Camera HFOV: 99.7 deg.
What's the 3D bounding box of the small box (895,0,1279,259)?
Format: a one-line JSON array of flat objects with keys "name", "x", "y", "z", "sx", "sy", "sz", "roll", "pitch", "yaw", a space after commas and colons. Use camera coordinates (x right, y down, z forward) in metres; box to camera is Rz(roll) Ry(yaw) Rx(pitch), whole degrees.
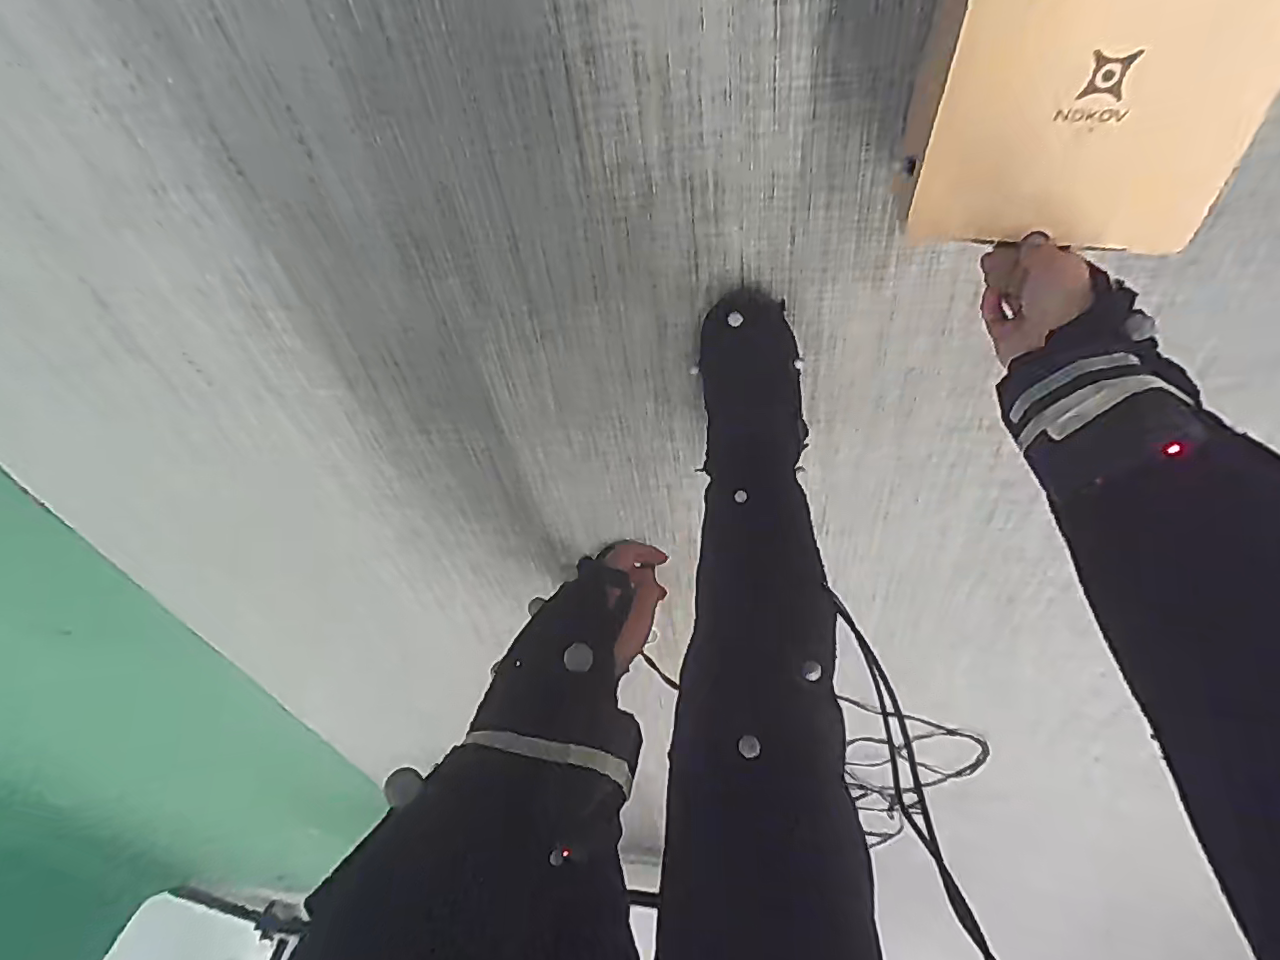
[{"name": "small box", "x": 0.279, "y": -0.268, "z": 0.358, "sx": 0.168, "sy": 0.176, "sz": 0.179, "roll": 11, "pitch": 132, "yaw": 13}]
